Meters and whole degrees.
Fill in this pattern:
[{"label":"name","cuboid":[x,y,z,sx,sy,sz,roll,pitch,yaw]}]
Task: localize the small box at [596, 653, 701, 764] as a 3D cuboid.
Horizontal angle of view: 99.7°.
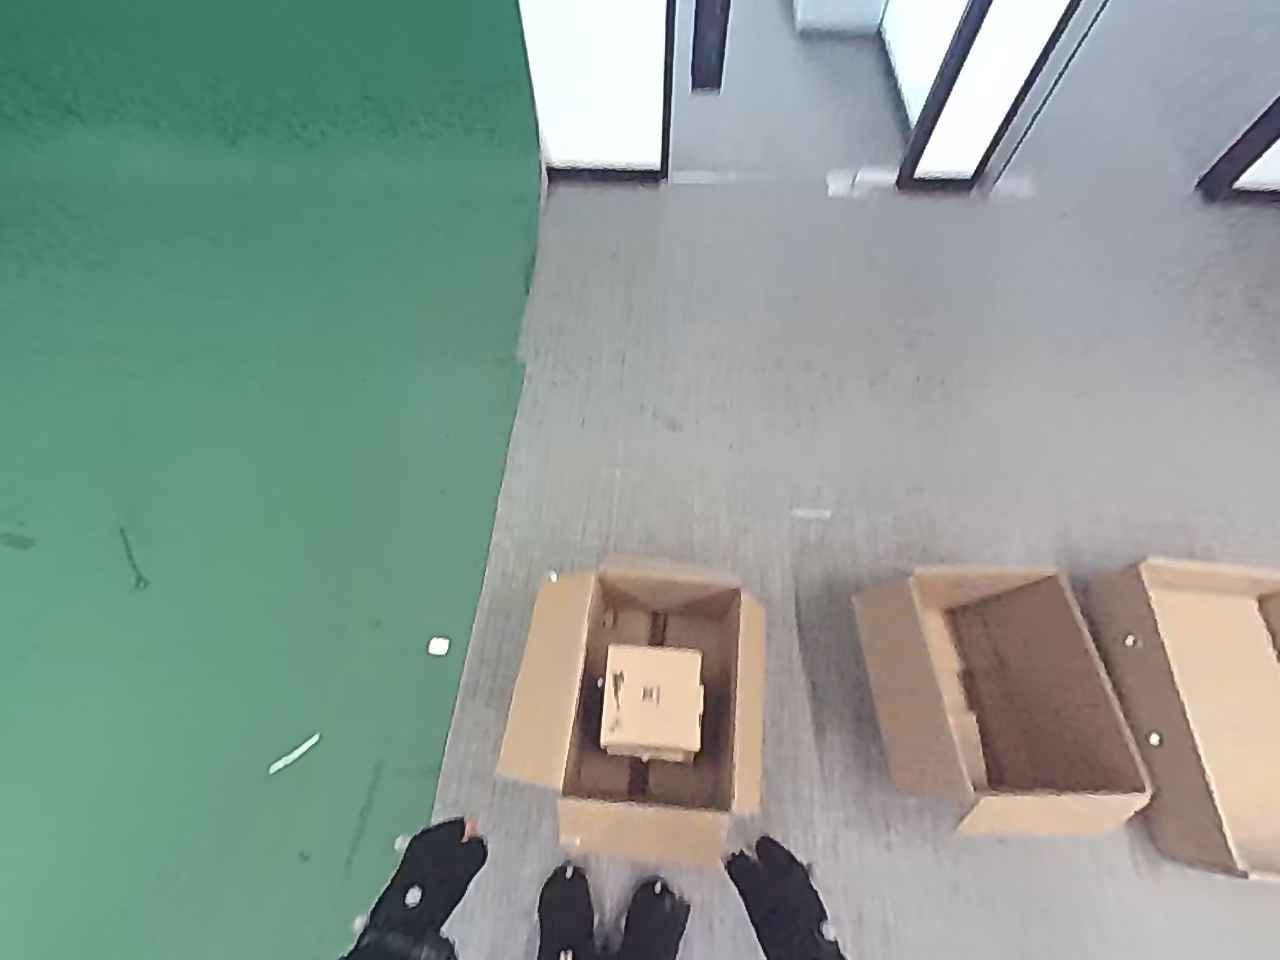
[{"label":"small box","cuboid":[0.013,0.440,1.031,0.179,0.176,0.168,6,59,-1]}]
